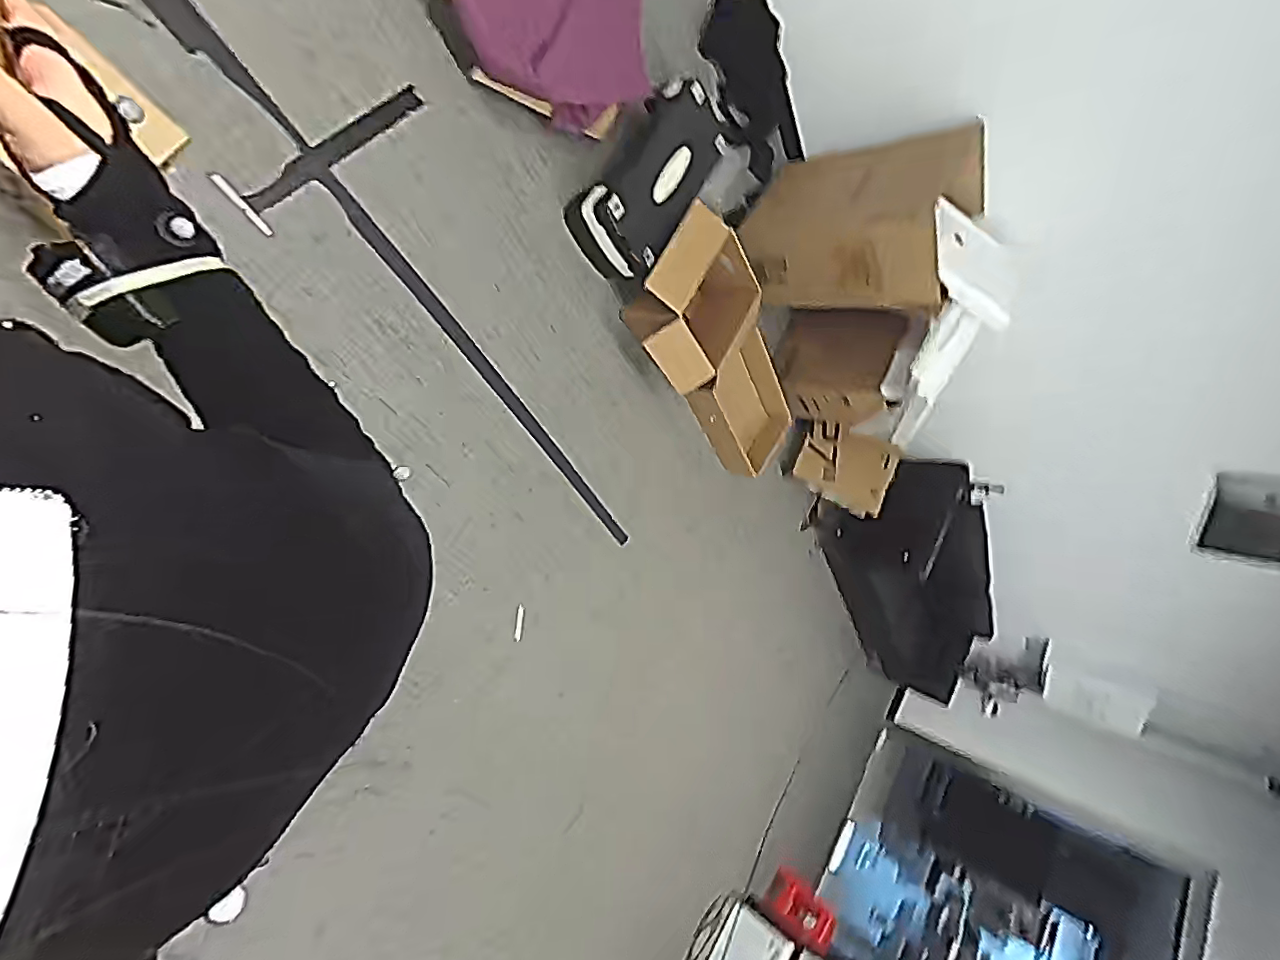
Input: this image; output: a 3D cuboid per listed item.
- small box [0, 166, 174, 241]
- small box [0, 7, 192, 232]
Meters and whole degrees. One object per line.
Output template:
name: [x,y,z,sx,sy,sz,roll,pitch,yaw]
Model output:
small box: [-0.873,-0.492,0.829,0.179,0.176,0.168,-54,134,-21]
small box: [-0.755,-0.460,0.717,0.168,0.176,0.179,48,66,-42]
